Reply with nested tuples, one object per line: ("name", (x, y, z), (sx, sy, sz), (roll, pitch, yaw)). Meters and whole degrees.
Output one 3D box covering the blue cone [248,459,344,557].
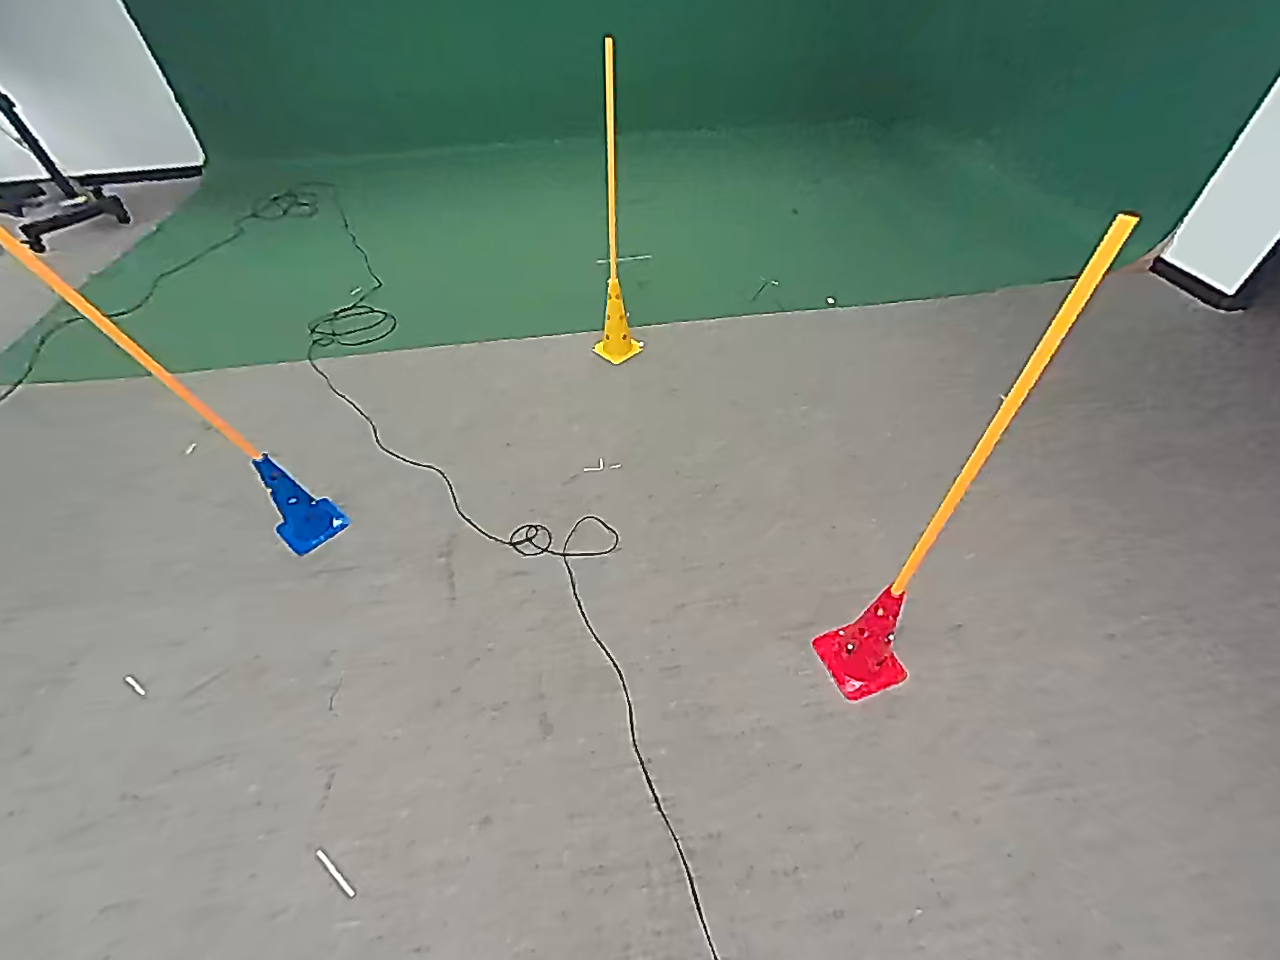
("blue cone", (-1.186, 0.073, 1.816), (0.192, 0.380, 0.193), (29, 57, 26))
